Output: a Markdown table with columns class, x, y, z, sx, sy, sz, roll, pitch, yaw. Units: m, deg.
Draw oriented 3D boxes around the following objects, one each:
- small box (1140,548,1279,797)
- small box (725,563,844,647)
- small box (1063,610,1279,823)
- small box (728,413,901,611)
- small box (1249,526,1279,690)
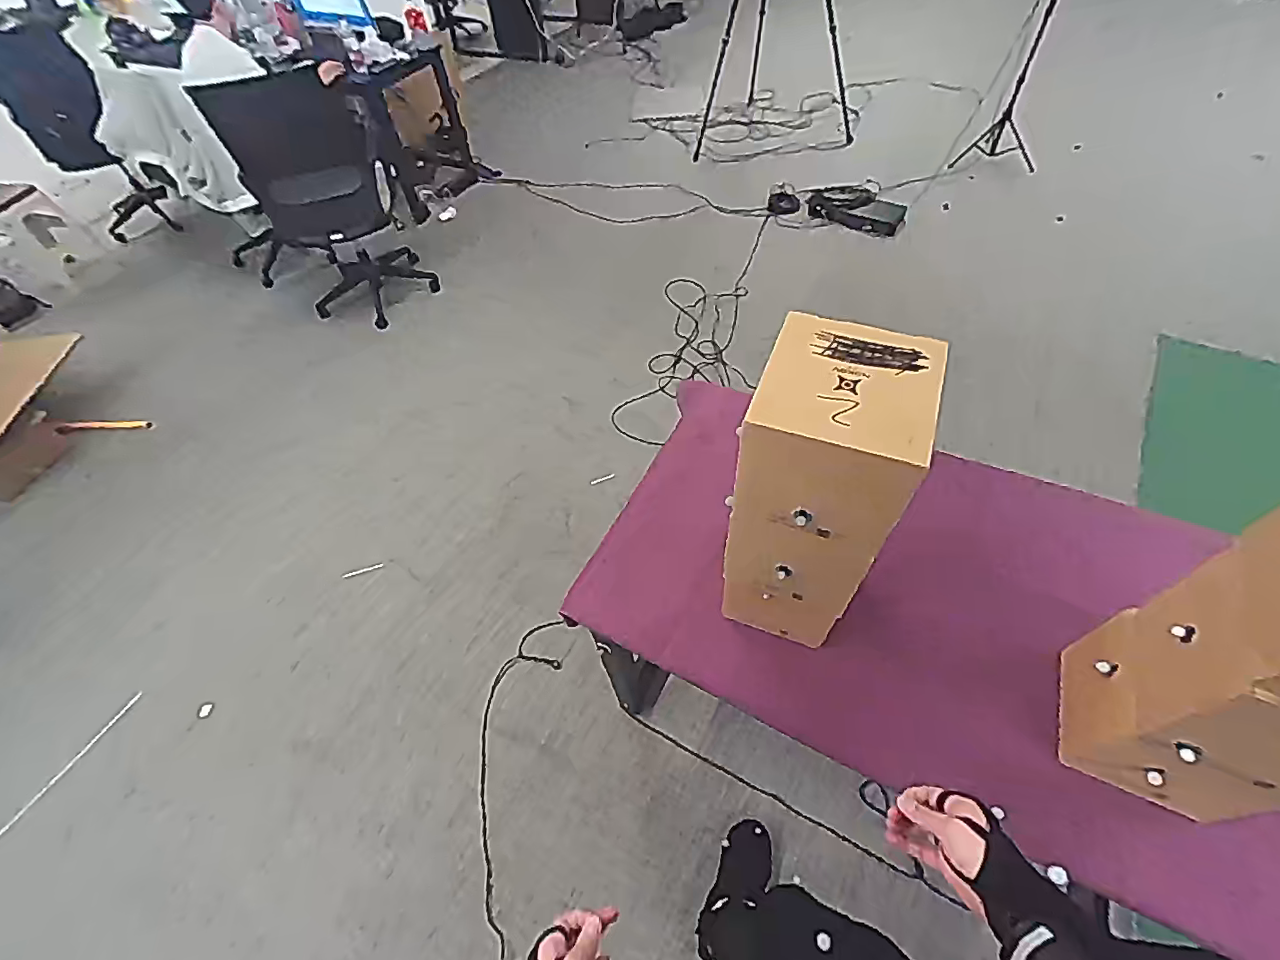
| class | x | y | z | sx | sy | sz | roll | pitch | yaw |
| --- | --- | --- | --- | --- | --- | --- | --- | --- | --- |
| small box | 0.661 | 0.208 | 0.553 | 0.168 | 0.176 | 0.179 | 21 | 56 | 20 |
| small box | 0.238 | 0.132 | 0.853 | 0.168 | 0.176 | 0.179 | 16 | 56 | 17 |
| small box | 0.675 | 0.303 | 0.687 | 0.168 | 0.176 | 0.179 | 19 | 55 | 19 |
| small box | 0.220 | 0.046 | 0.712 | 0.168 | 0.176 | 0.179 | 18 | 57 | 16 |
| small box | 0.651 | 0.103 | 0.429 | 0.168 | 0.176 | 0.179 | 22 | 57 | 21 |
